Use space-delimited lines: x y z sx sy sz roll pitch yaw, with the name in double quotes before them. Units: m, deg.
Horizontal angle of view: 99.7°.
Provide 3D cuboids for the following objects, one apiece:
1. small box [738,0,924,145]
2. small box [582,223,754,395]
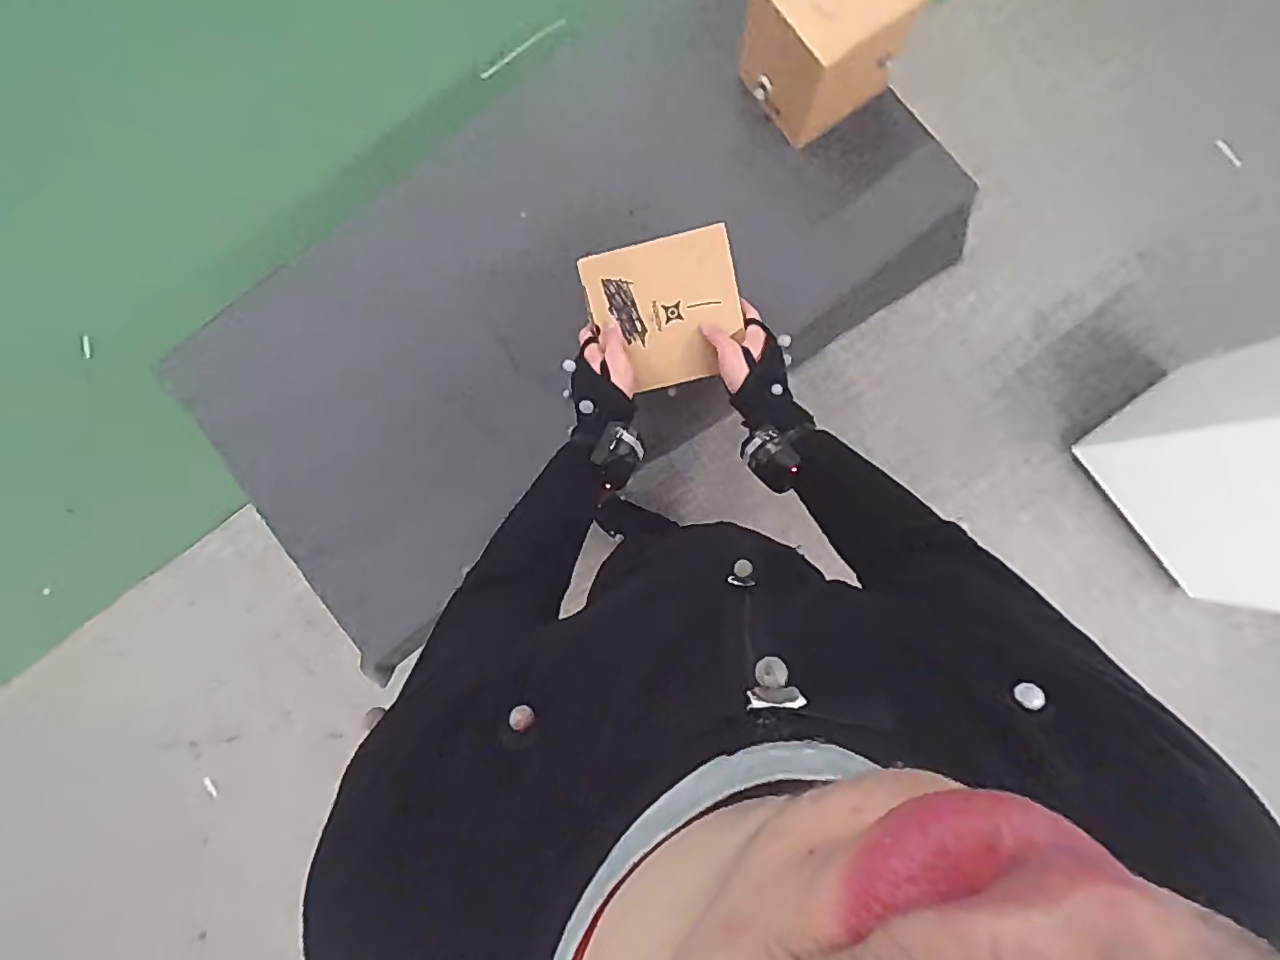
"small box" 0.263 -0.647 0.786 0.179 0.176 0.168 -36 85 1
"small box" 0.037 -0.207 0.701 0.179 0.176 0.168 -11 100 4
